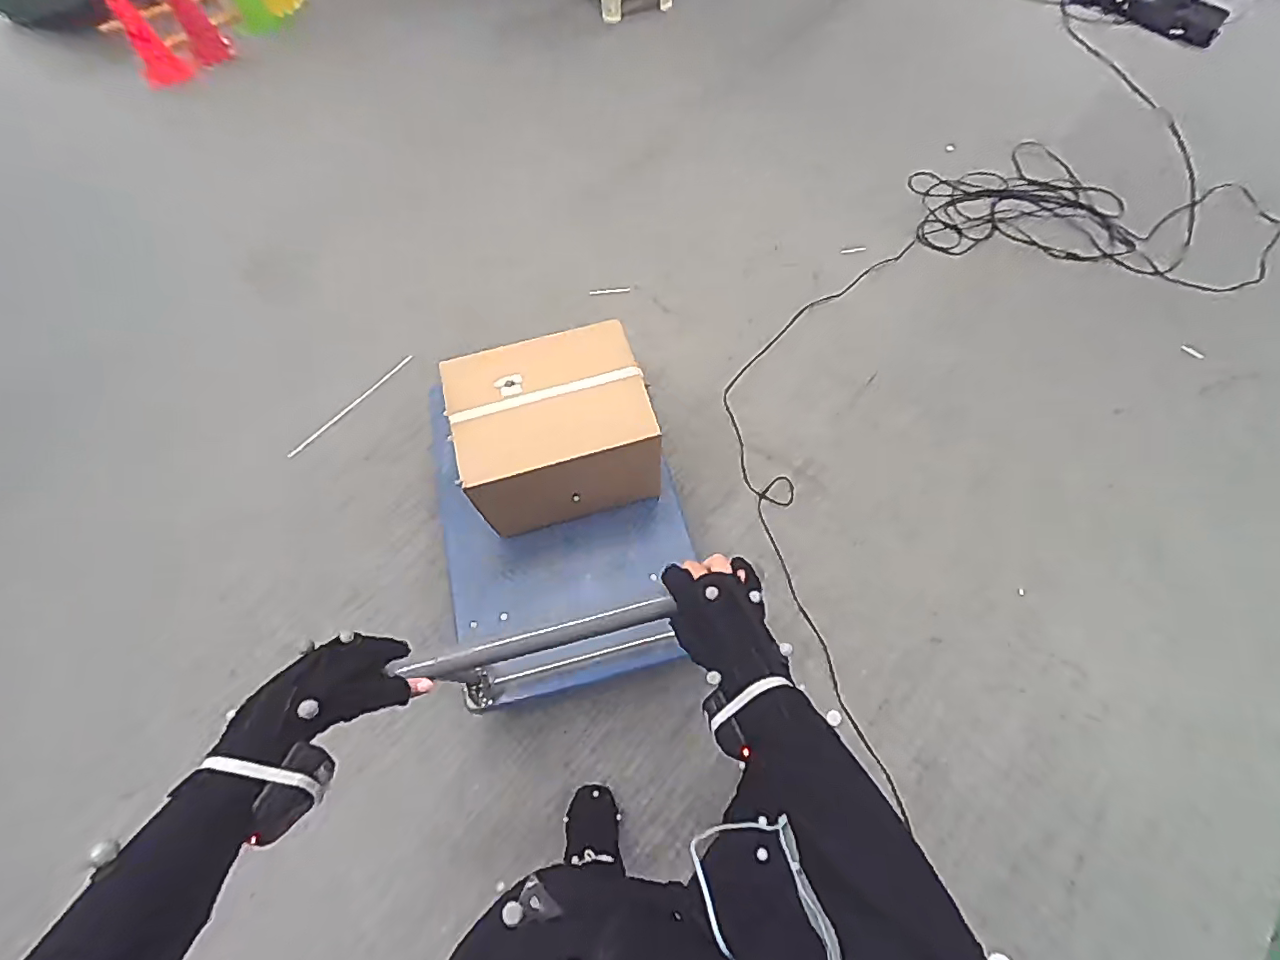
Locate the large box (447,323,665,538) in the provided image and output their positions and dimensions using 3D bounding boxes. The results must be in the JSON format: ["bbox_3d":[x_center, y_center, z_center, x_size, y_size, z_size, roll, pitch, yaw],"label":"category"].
[{"bbox_3d":[-0.178,-0.102,1.259,0.408,0.320,0.320,-17,65,-5],"label":"large box"}]
